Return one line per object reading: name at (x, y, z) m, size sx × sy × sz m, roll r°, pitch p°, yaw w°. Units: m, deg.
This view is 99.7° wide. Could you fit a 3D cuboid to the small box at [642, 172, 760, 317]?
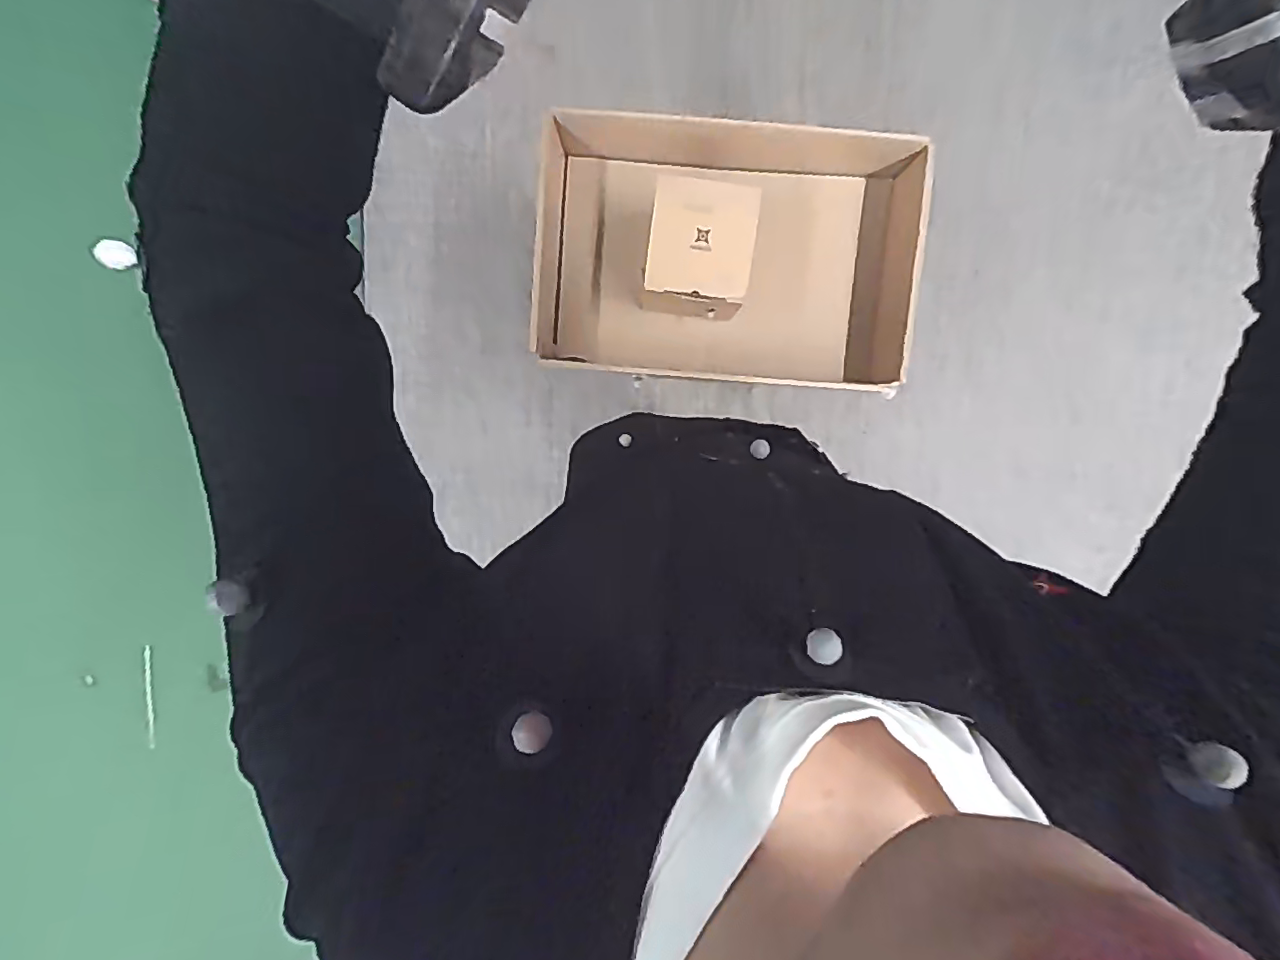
small box at (0.093, -0.386, 0.920) m, size 0.168 × 0.176 × 0.179 m, roll 6°, pitch 95°, yaw -2°
